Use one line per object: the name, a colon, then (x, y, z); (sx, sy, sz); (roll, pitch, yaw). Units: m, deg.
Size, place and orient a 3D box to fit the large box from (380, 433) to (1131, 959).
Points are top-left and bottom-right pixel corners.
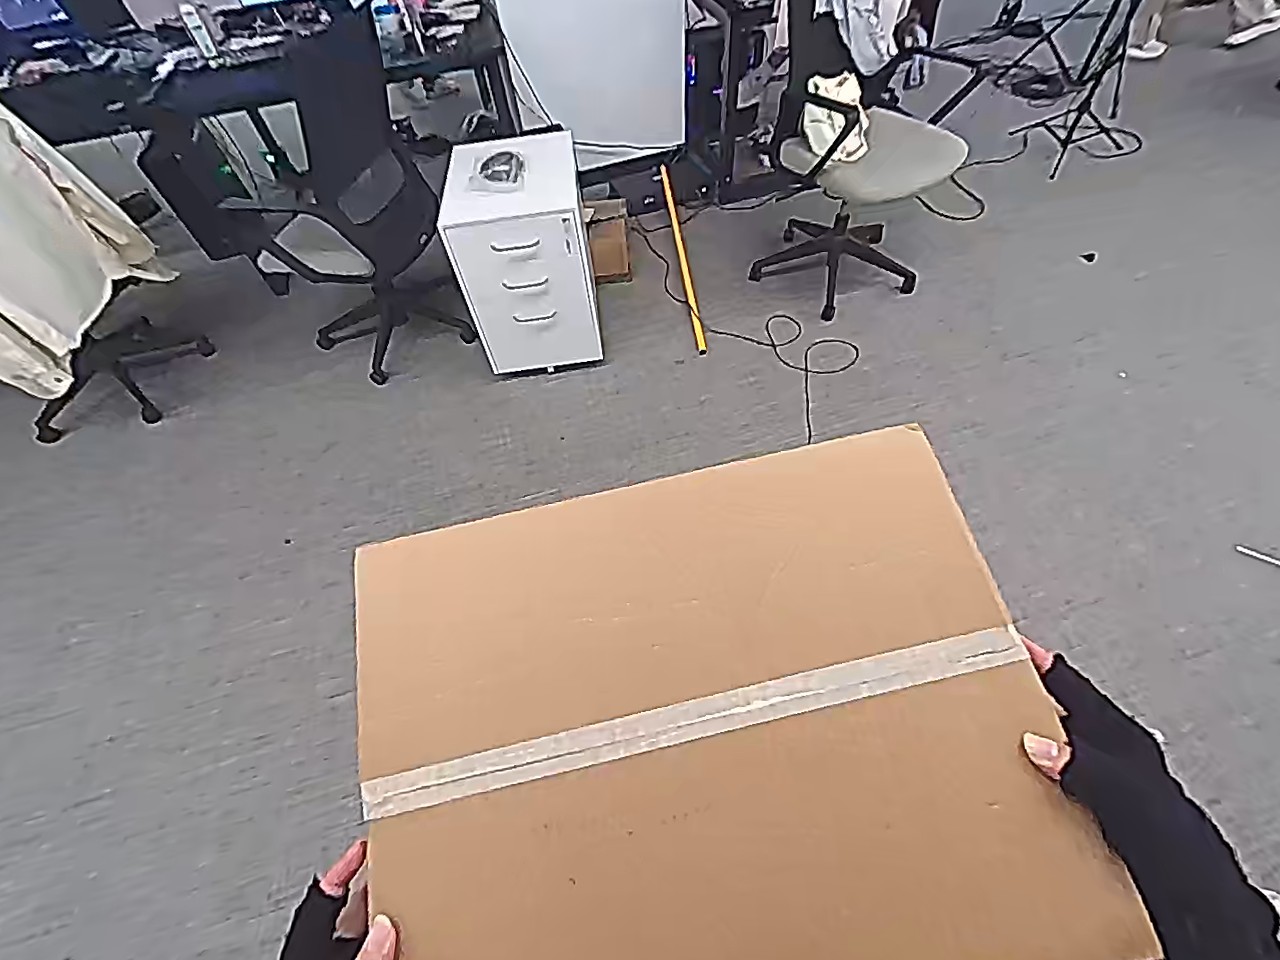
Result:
large box: (0.047, 0.202, 0.475); (0.408, 0.320, 0.320); (-13, 70, -1)
